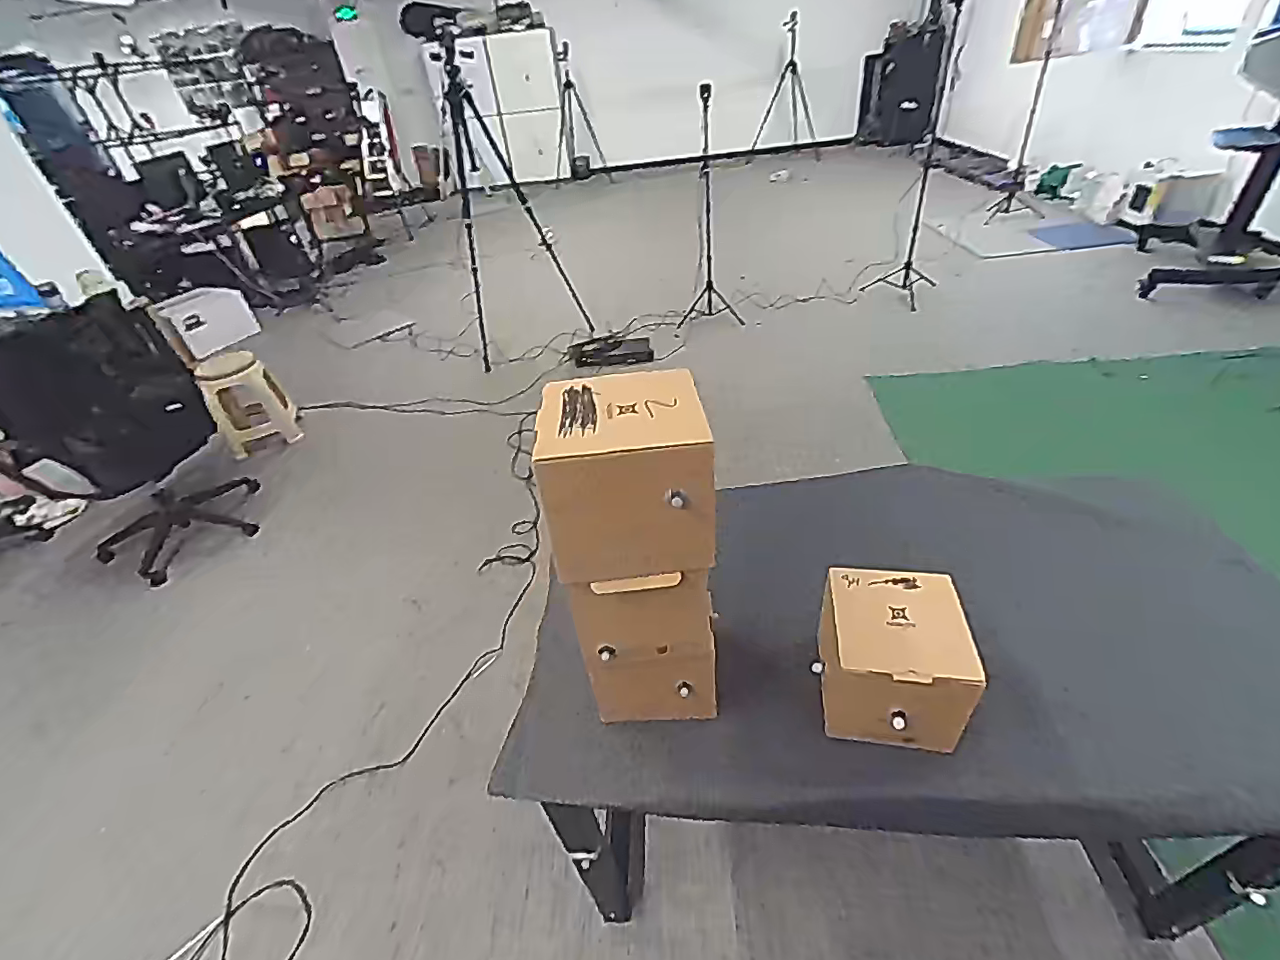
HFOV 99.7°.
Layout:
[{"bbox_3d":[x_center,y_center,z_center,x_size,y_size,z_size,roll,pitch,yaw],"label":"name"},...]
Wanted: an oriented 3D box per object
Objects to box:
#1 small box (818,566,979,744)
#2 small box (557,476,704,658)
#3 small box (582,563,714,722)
[{"bbox_3d":[0.346,0.245,0.761,0.168,0.176,0.179,1,39,13],"label":"small box"},{"bbox_3d":[-0.009,0.120,0.721,0.168,0.176,0.179,-7,36,1],"label":"small box"},{"bbox_3d":[0.019,0.247,0.821,0.179,0.176,0.168,-6,36,5],"label":"small box"}]
